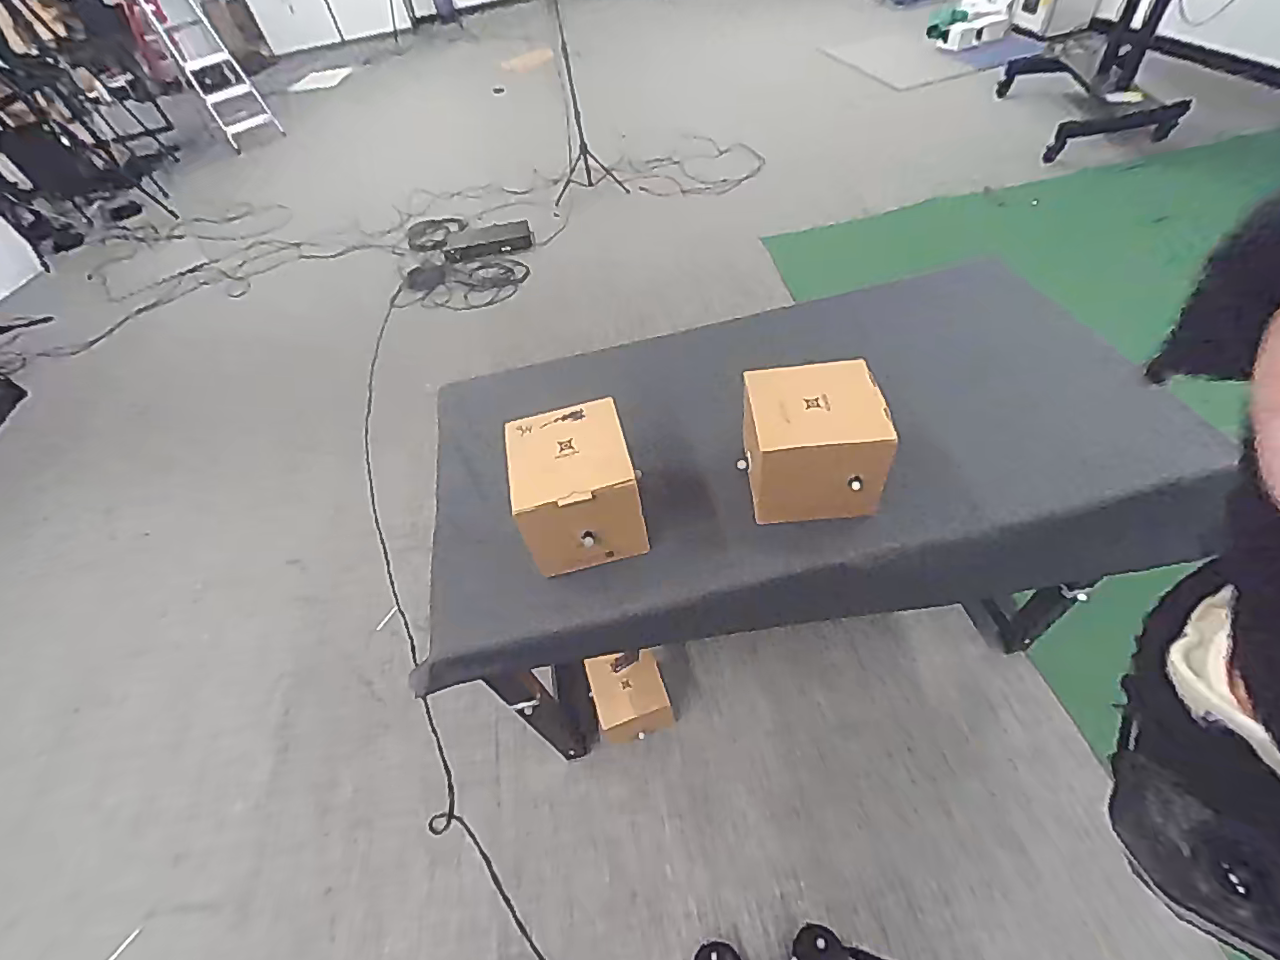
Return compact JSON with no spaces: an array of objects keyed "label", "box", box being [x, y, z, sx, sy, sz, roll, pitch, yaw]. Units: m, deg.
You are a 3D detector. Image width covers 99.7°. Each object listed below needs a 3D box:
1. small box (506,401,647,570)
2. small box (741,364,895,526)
[{"label":"small box","box":[-0.092,0.015,0.807,0.168,0.176,0.179,-14,49,-3]},{"label":"small box","box":[0.250,-0.048,0.809,0.179,0.176,0.168,-6,48,5]}]
